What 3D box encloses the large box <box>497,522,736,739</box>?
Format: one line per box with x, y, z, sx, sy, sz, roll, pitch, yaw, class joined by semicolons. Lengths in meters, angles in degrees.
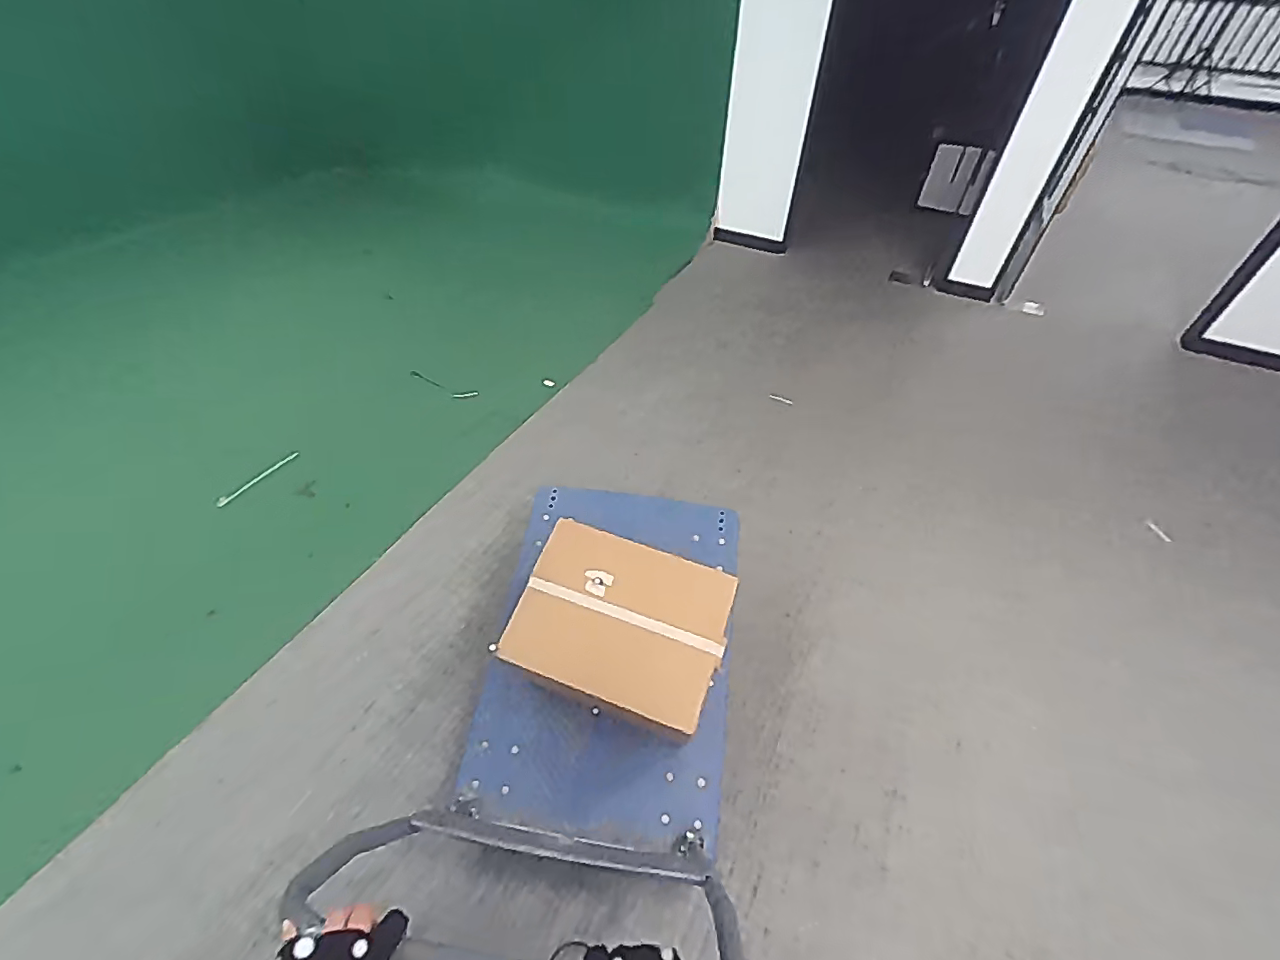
-0.032;0.341;1.198;0.408;0.320;0.320;18;63;12;large box
